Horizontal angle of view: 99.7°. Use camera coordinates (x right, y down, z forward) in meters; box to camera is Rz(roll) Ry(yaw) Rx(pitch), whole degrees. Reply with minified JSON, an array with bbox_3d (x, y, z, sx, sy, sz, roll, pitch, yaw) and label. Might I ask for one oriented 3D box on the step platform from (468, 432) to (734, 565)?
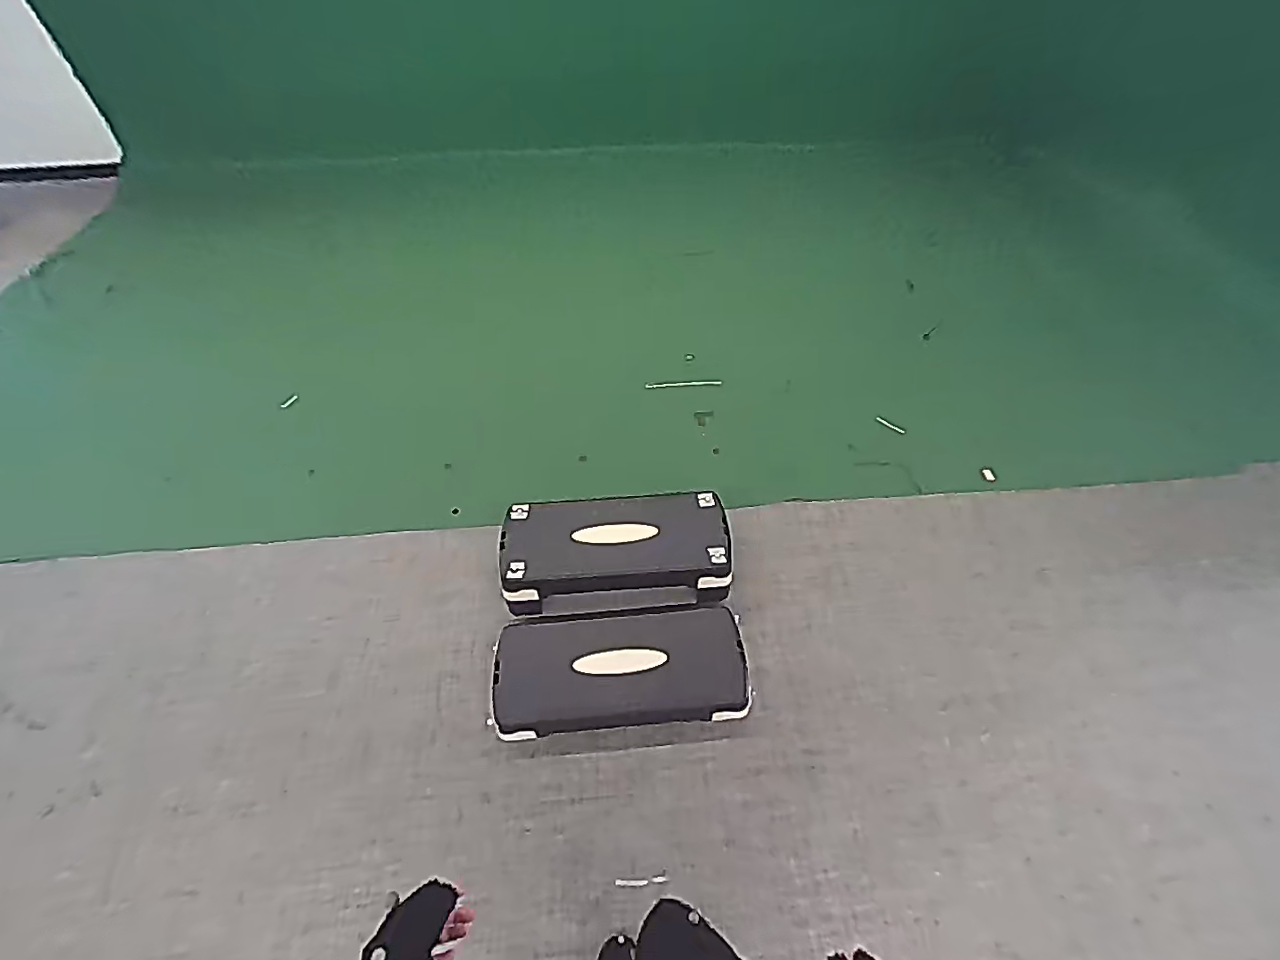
[{"bbox_3d":[-0.101,0.050,1.480,0.684,0.204,0.286,-4,52,-2],"label":"step platform"}]
